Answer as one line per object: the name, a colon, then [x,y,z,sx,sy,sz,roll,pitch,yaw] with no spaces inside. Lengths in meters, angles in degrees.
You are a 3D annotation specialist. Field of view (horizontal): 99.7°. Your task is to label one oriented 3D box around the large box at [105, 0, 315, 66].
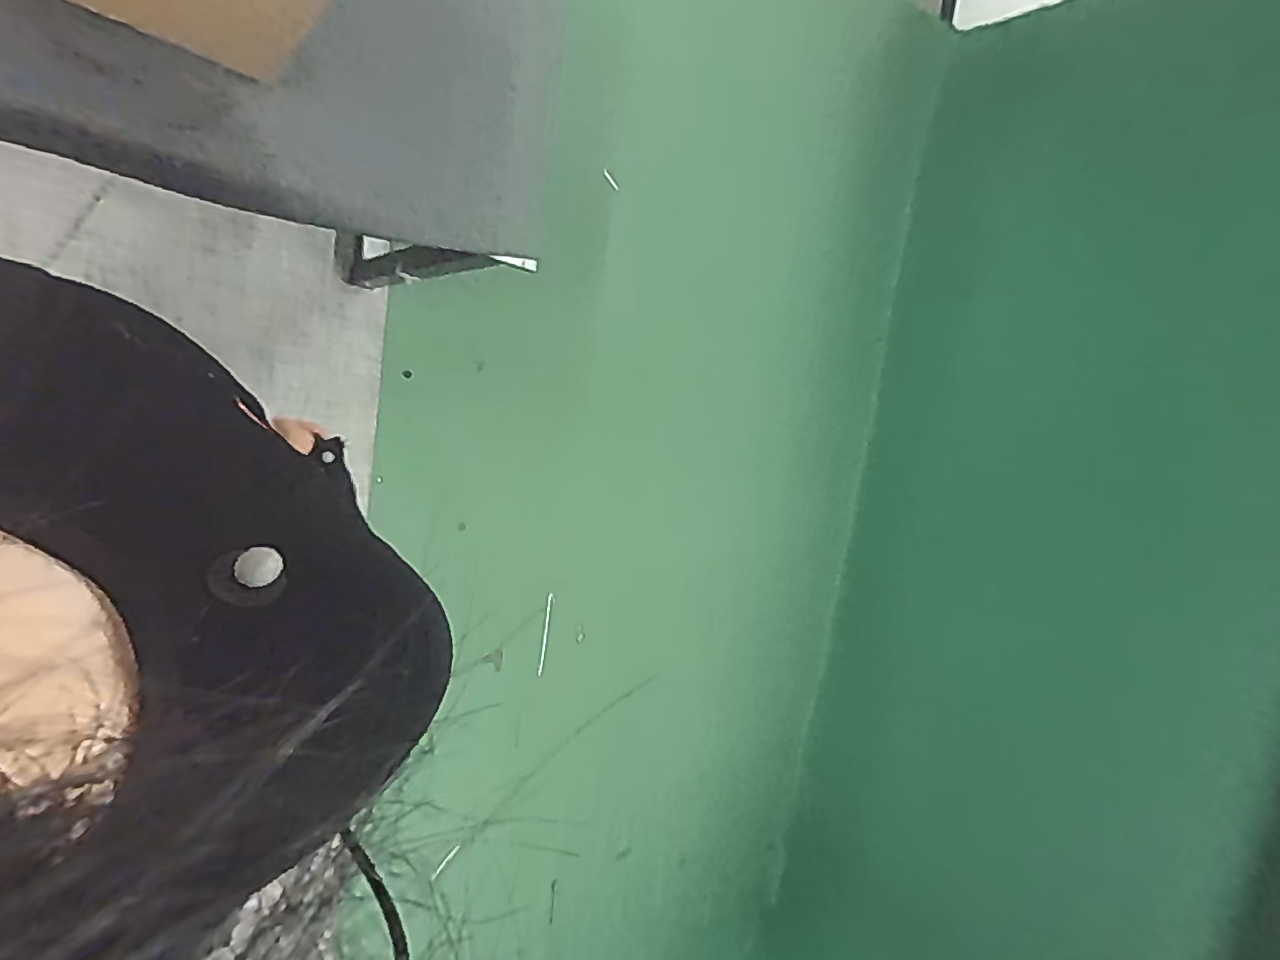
large box: [-0.439,-0.577,0.348,0.408,0.320,0.320,-3,103,-46]
